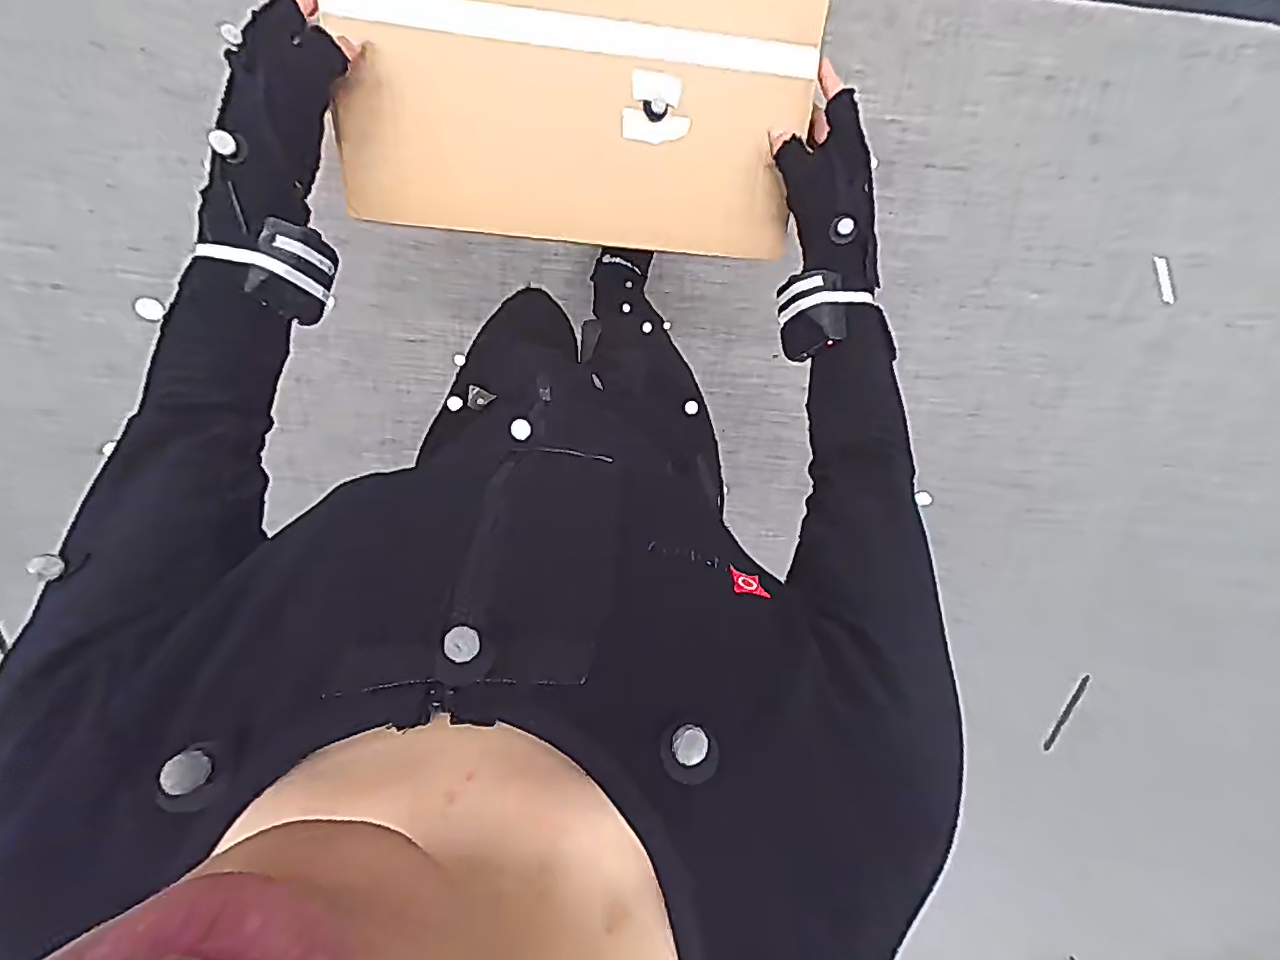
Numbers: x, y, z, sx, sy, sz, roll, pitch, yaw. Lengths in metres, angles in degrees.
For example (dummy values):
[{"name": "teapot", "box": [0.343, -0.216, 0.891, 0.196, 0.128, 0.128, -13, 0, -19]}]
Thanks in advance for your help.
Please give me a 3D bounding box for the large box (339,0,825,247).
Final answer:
[{"name": "large box", "box": [-0.058, -0.442, 0.583, 0.408, 0.320, 0.320, 2, 117, -7]}]
